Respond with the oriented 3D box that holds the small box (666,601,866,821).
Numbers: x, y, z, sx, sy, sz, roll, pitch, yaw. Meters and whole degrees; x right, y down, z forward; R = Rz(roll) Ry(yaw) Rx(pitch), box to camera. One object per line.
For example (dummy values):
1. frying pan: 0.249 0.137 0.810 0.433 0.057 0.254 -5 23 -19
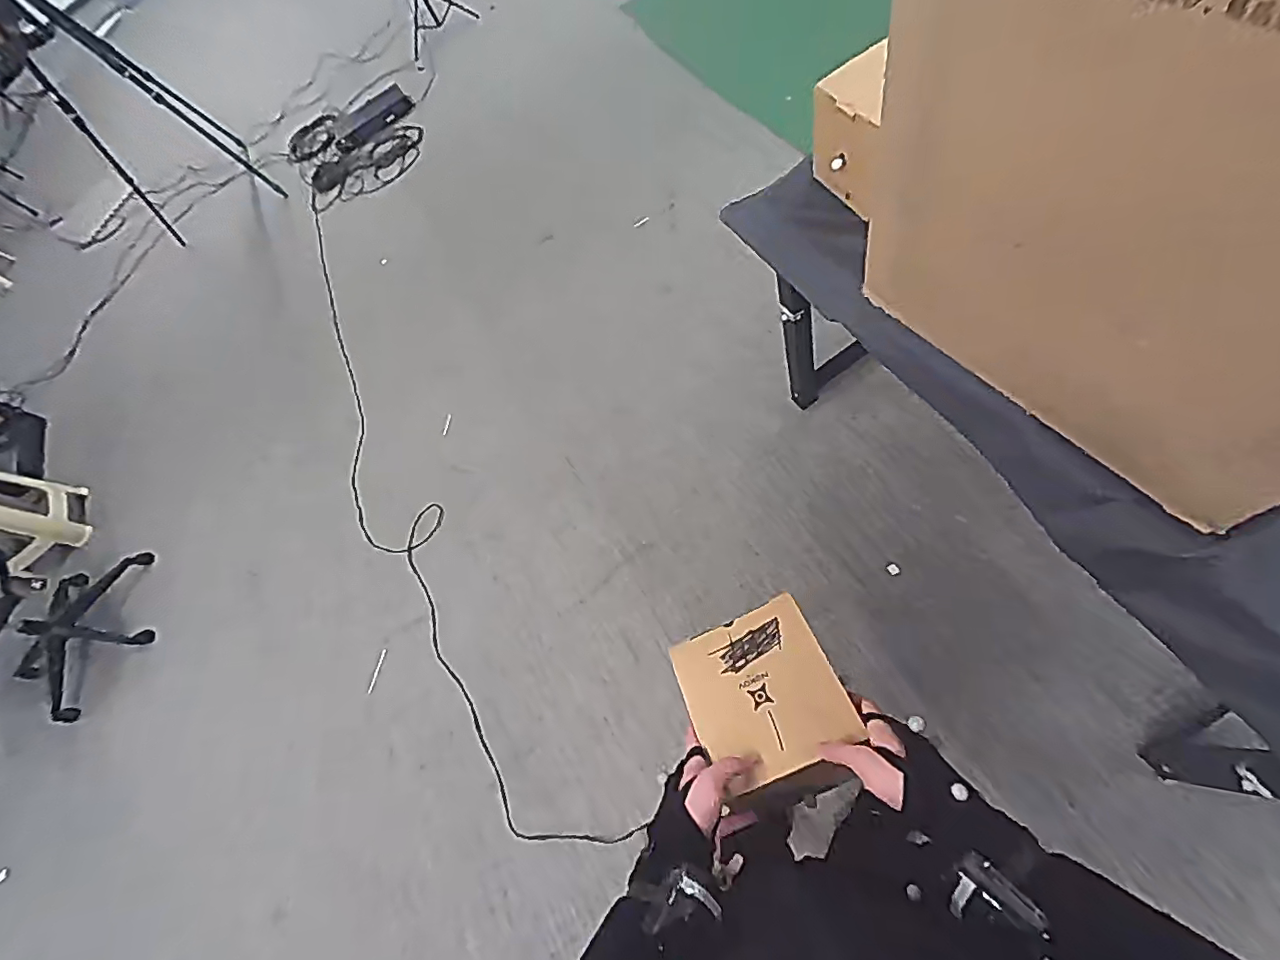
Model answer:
1. small box: 0.154 0.286 0.661 0.168 0.176 0.179 -27 47 6
